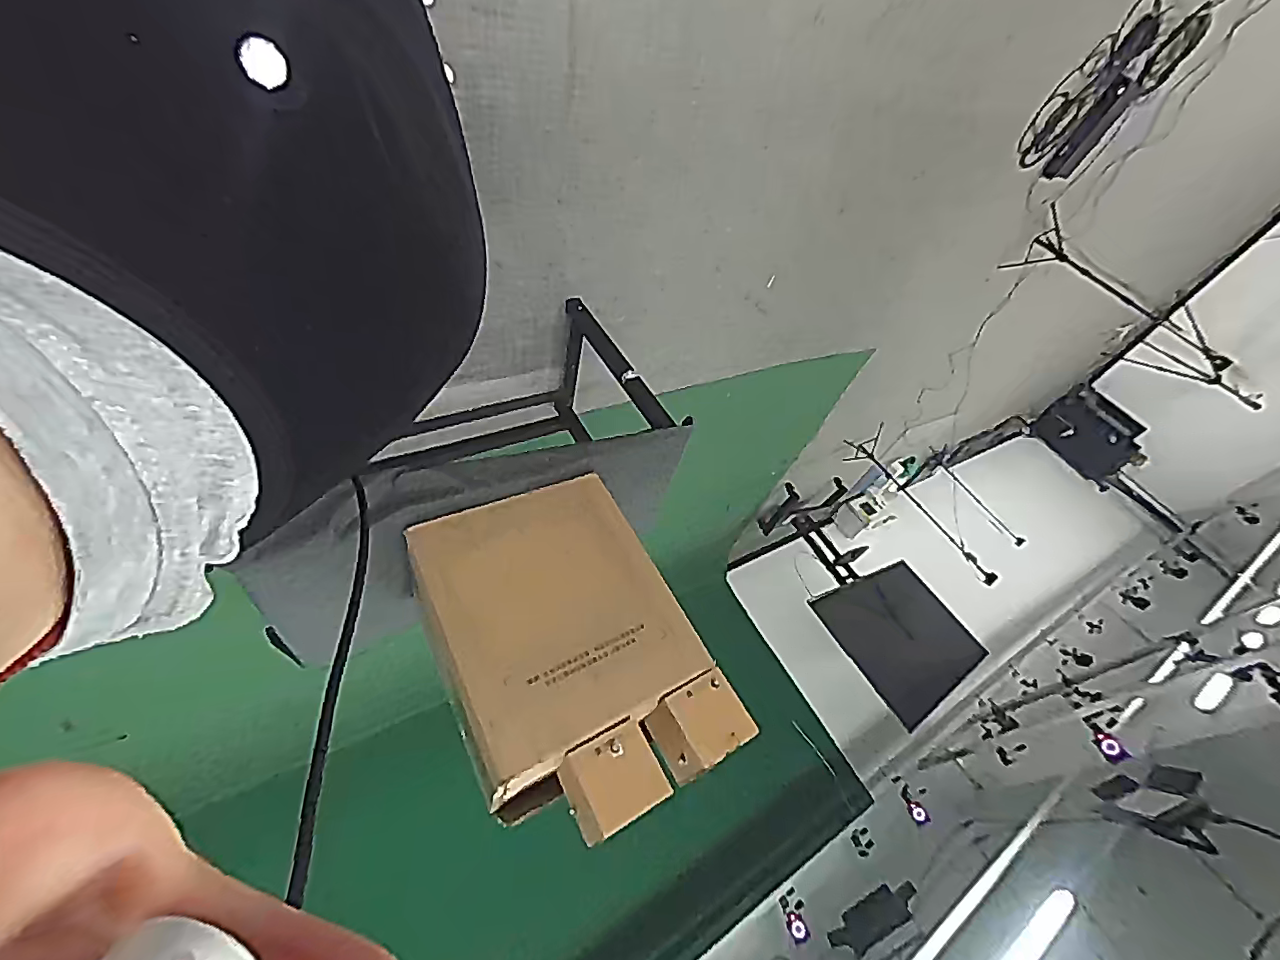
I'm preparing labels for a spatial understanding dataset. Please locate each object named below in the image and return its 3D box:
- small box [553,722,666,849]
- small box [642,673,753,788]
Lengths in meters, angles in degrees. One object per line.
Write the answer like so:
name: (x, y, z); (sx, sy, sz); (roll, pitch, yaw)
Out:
small box: (-0.074, 0.649, 1.157); (0.168, 0.176, 0.179); (-19, 149, -29)
small box: (0.127, 0.581, 1.271); (0.168, 0.176, 0.179); (-18, 150, -31)
